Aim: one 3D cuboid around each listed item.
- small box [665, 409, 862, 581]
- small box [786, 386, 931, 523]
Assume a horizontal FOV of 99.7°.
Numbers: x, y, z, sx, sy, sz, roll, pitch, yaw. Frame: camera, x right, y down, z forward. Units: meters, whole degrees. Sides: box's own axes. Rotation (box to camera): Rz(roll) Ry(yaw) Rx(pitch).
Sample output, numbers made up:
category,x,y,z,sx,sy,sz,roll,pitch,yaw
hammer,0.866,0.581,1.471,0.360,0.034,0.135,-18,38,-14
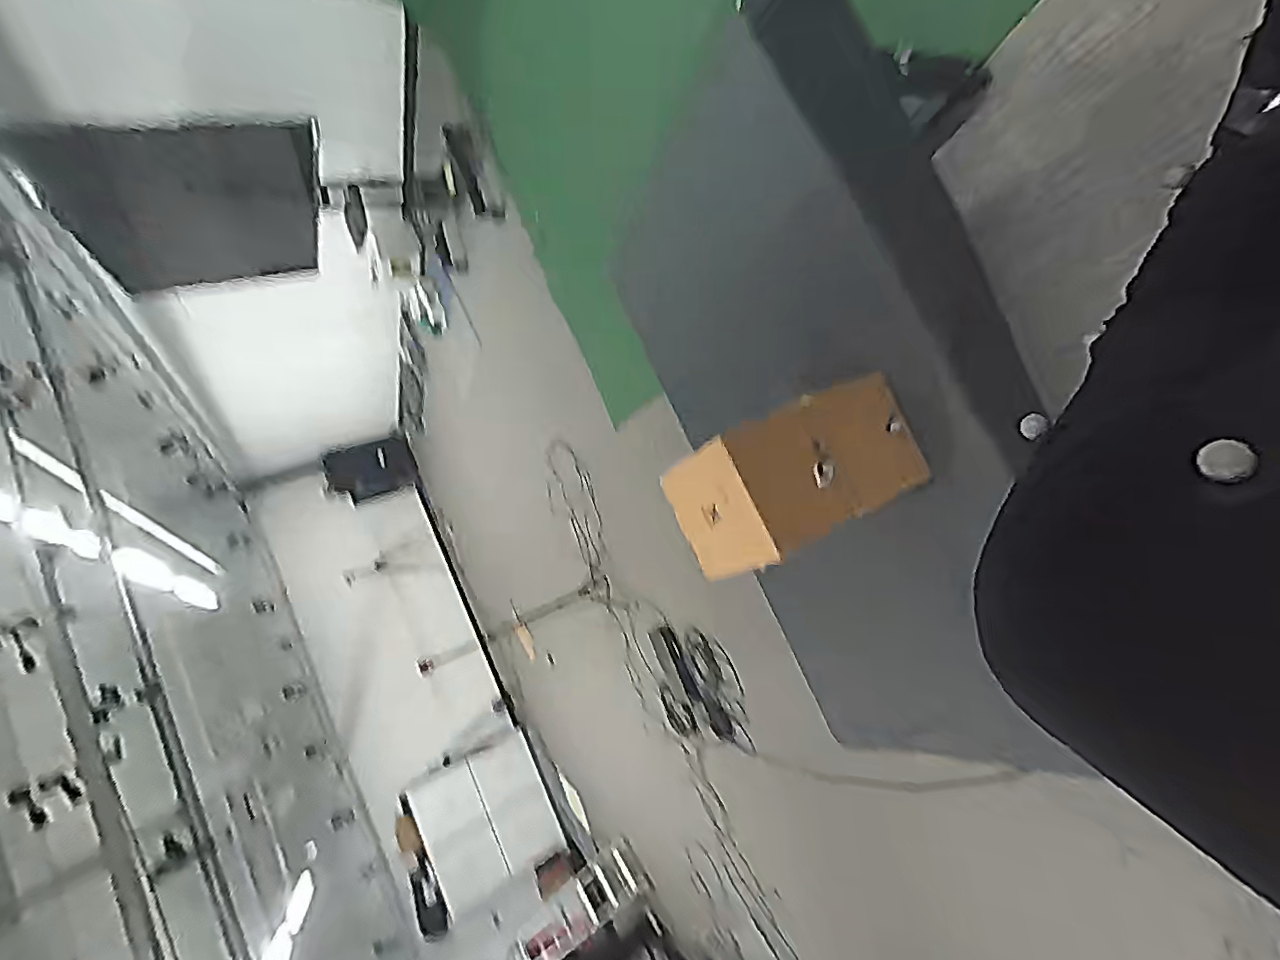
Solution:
category,x,y,z,sx,sy,sz,roll,pitch,yaw
small box,0.170,0.023,0.762,0.168,0.176,0.179,62,150,8
small box,0.302,-0.032,0.838,0.179,0.176,0.168,66,152,7
